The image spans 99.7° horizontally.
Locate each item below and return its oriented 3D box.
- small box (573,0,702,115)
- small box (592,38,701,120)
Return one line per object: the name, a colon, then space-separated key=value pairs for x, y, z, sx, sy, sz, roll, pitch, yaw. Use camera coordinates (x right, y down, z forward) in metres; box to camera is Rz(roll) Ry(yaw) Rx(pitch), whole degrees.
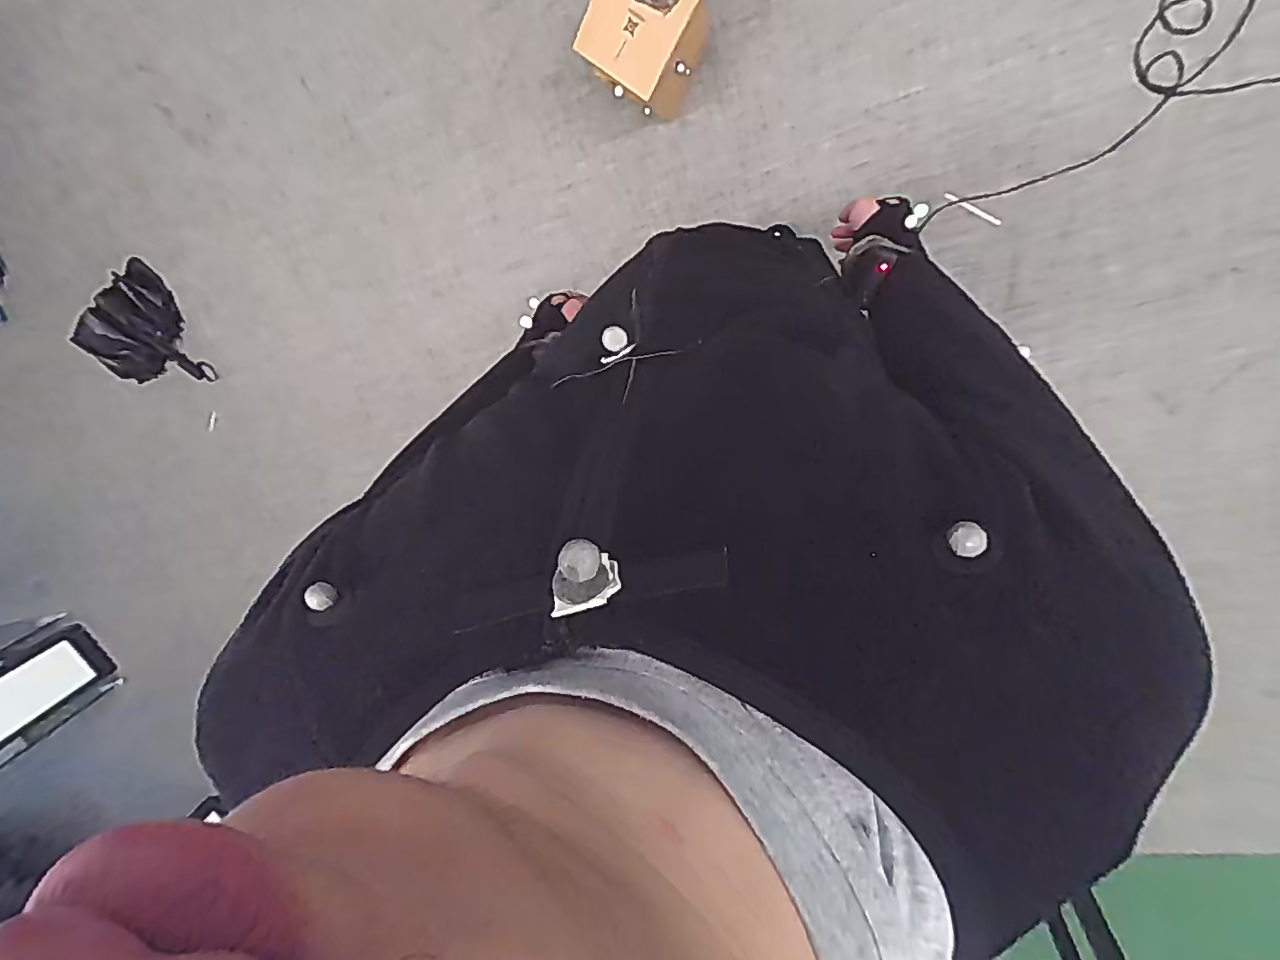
small box: x=0.004 y=-0.825 z=1.010 sx=0.168 sy=0.176 sz=0.179 roll=34 pitch=119 yaw=-4
small box: x=0.021 y=-0.905 z=1.154 sx=0.168 sy=0.176 sz=0.179 roll=27 pitch=117 yaw=-1
